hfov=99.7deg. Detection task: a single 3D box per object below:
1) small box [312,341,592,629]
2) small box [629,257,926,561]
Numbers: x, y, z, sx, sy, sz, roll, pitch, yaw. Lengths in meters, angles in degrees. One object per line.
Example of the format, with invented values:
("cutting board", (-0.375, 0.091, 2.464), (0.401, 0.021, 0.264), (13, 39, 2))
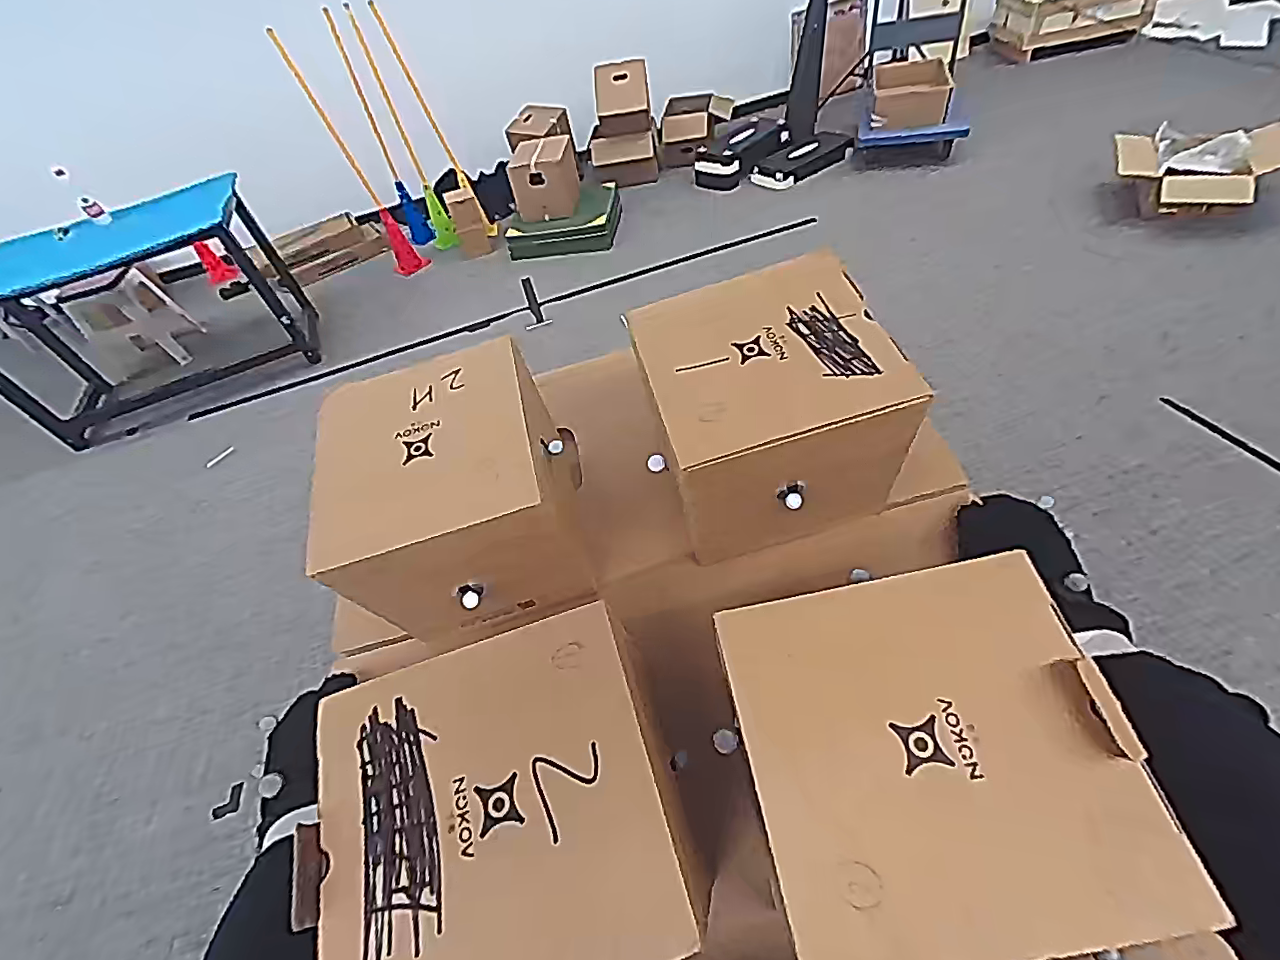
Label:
("small box", (-0.150, 0.016, 0.475), (0.168, 0.176, 0.179), (-17, 56, 0))
("small box", (0.103, -0.051, 0.466), (0.179, 0.176, 0.168), (-17, 57, 2))
